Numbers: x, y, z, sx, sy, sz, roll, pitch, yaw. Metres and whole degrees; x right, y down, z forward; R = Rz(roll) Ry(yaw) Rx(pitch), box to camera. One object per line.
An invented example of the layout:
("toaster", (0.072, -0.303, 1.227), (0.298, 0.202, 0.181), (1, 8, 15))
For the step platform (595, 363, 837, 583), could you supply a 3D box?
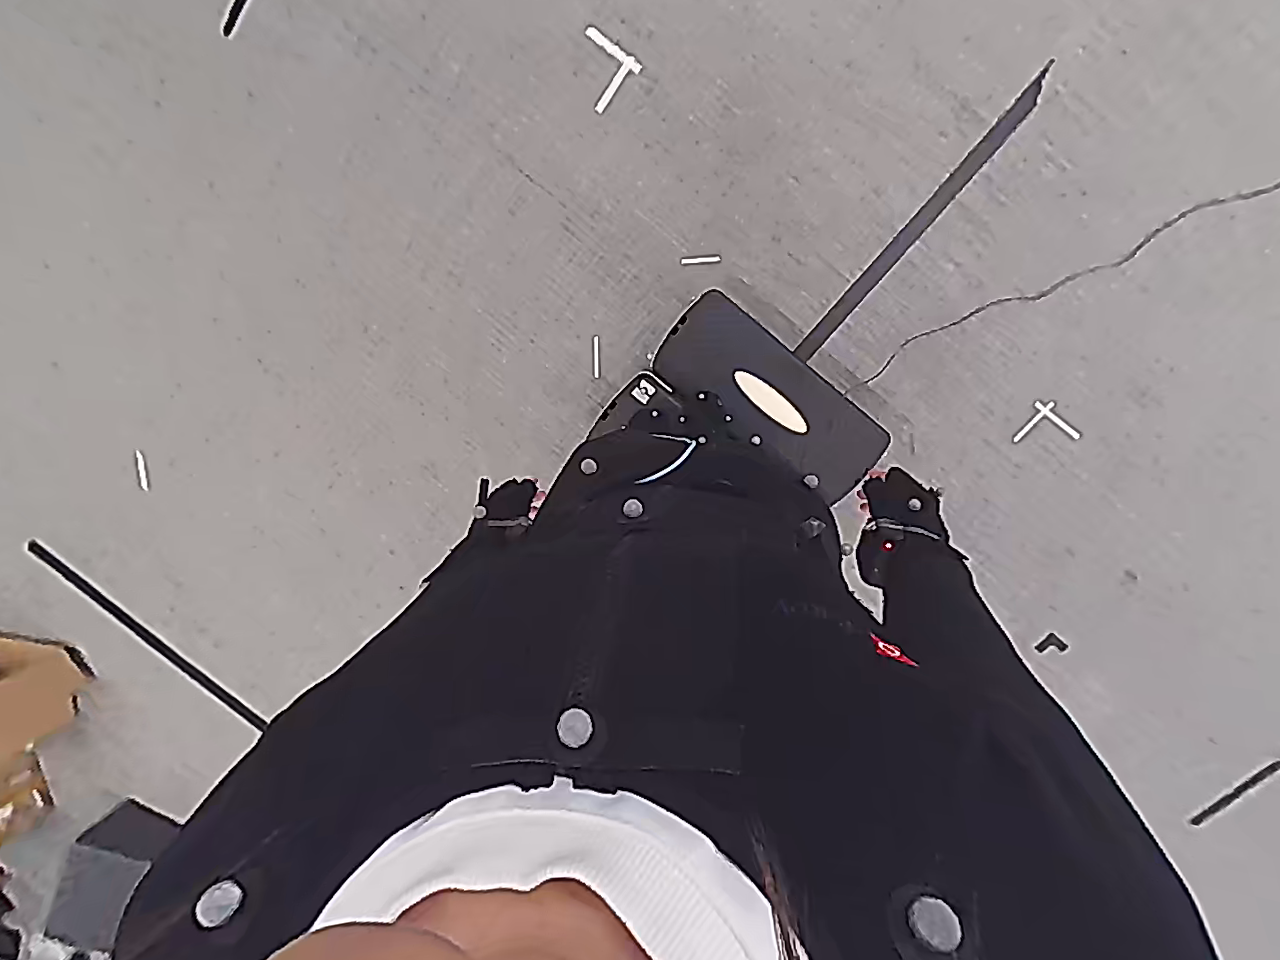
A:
("step platform", (0.207, -0.020, 1.516), (0.684, 0.204, 0.286), (39, 102, -1))
